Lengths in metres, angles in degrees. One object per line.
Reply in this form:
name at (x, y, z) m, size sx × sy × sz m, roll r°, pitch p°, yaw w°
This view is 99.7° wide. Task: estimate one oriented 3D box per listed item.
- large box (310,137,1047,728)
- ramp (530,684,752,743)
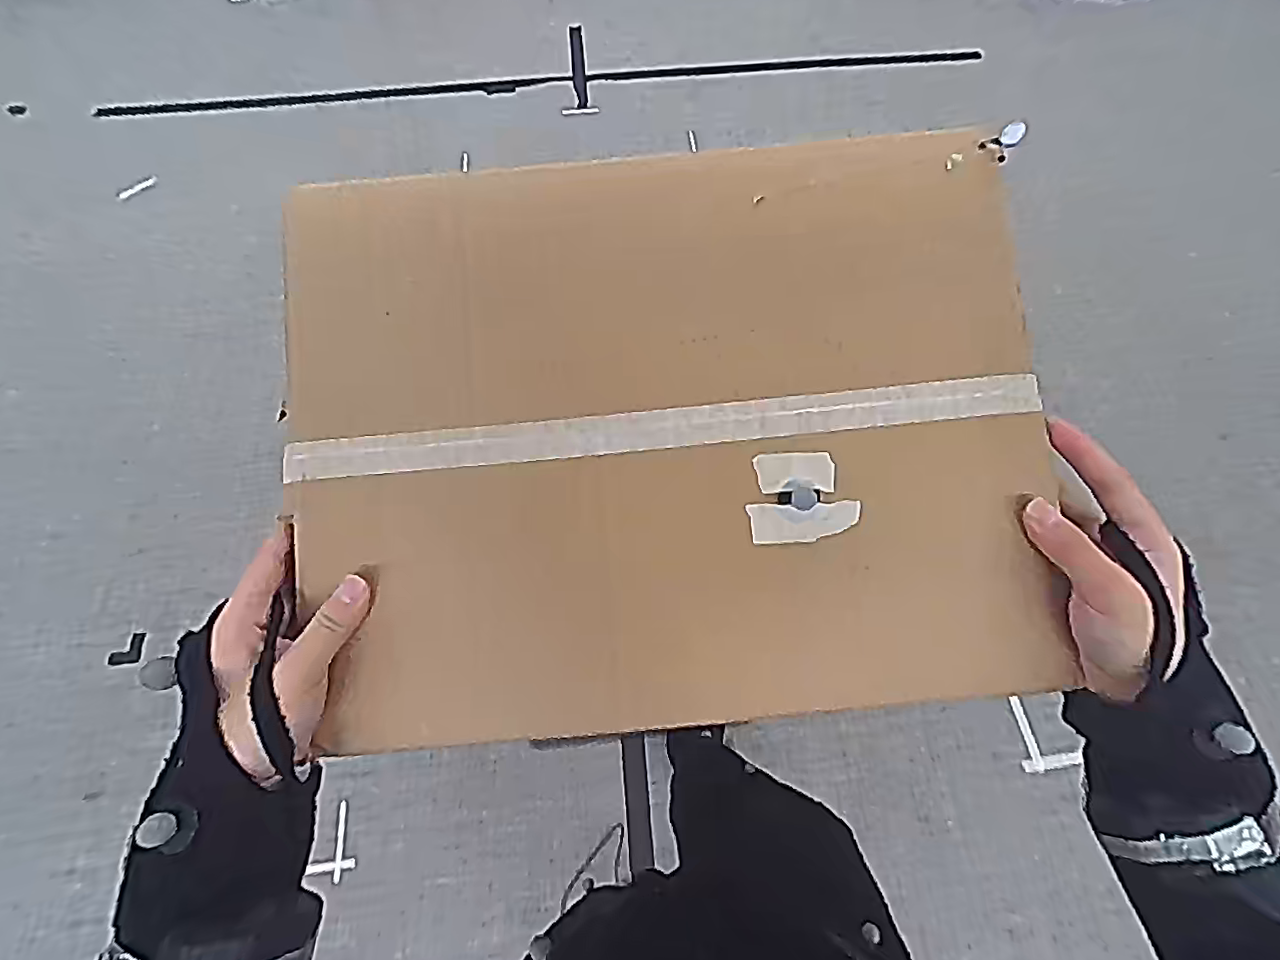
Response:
large box at (0.013, -0.021, 0.458) m, size 0.408 × 0.320 × 0.320 m, roll -5°, pitch 86°, yaw -1°
ramp at (-0.042, 0.063, 1.288) m, size 0.509 × 0.206 × 0.991 m, roll -7°, pitch 67°, yaw -4°
